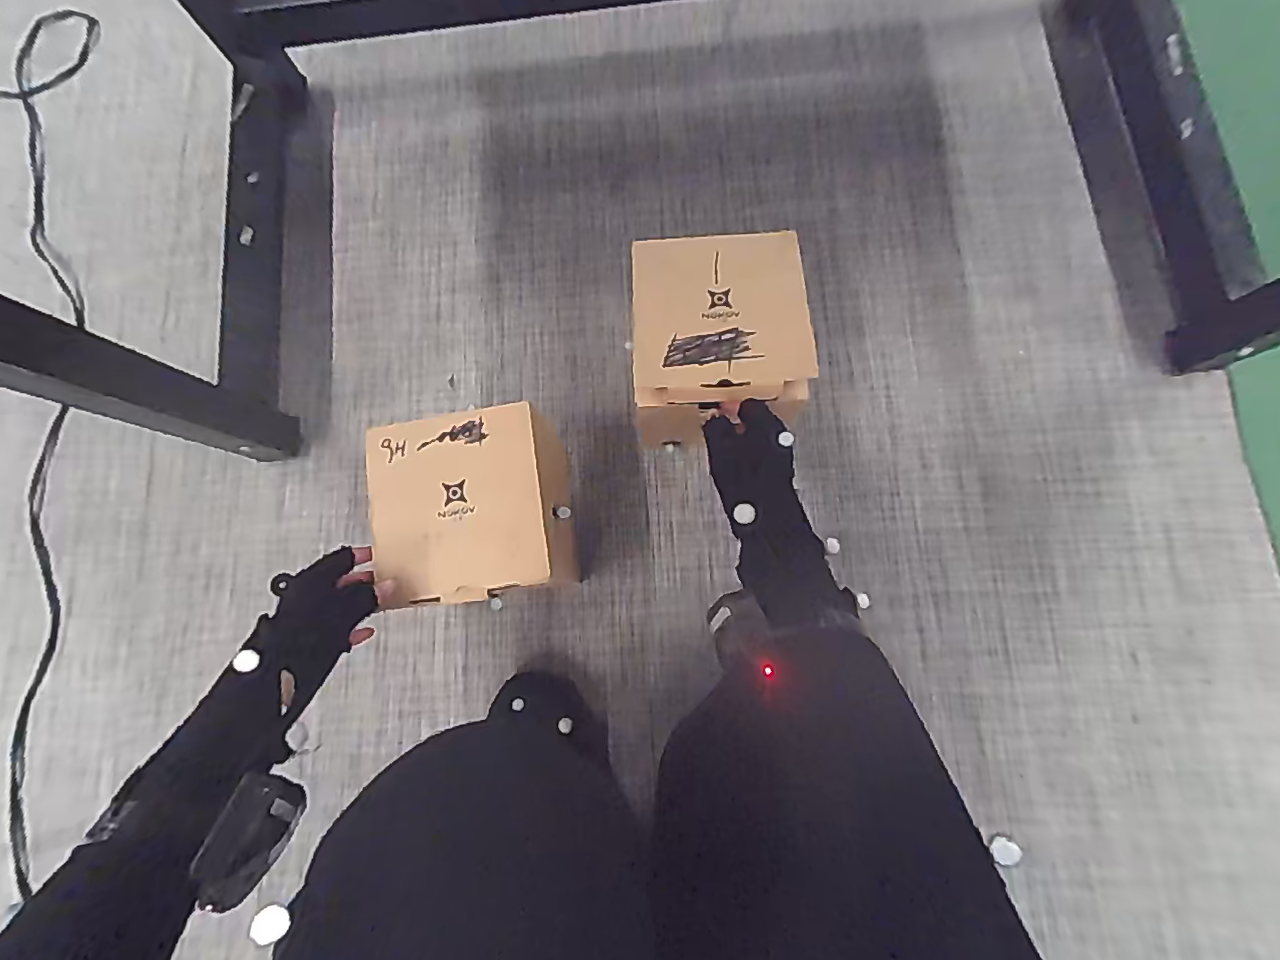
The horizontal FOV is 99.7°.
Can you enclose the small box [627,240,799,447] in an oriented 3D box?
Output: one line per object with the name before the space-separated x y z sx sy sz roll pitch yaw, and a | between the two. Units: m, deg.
small box | 0.075 -0.137 0.605 0.168 0.176 0.179 -2 78 4
